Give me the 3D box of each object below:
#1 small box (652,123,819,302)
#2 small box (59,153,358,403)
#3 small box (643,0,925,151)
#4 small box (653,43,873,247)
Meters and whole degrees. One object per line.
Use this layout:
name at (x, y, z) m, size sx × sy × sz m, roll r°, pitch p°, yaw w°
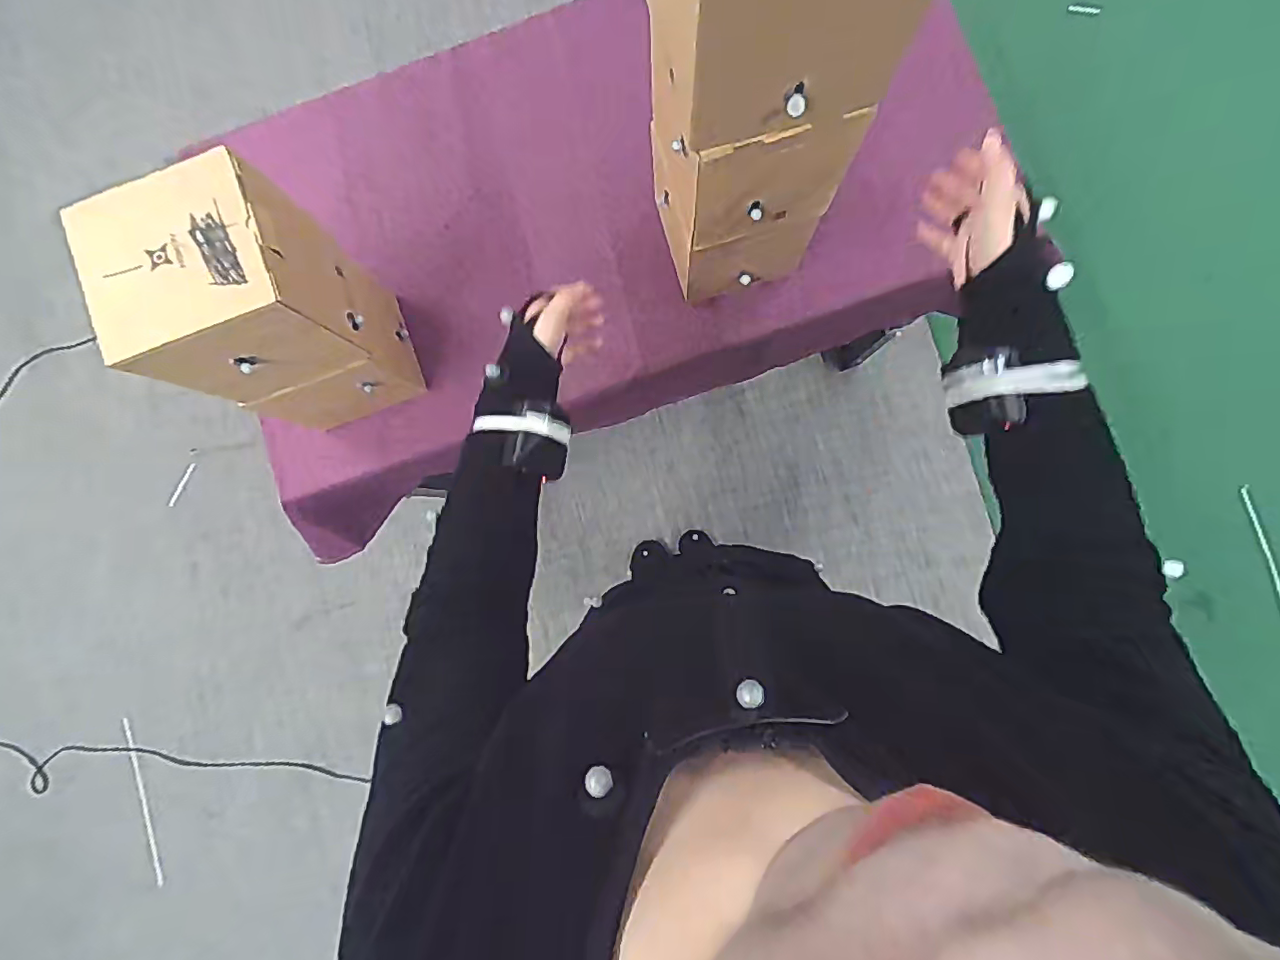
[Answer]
small box at (0.117, -0.370, 0.729) m, size 0.168 × 0.176 × 0.179 m, roll -16°, pitch 86°, yaw 3°
small box at (-0.437, -0.199, 0.583) m, size 0.179 × 0.176 × 0.168 m, roll -21°, pitch 86°, yaw 1°
small box at (0.101, -0.389, 0.403) m, size 0.179 × 0.176 × 0.168 m, roll -14°, pitch 86°, yaw 1°
small box at (0.110, -0.382, 0.567) m, size 0.168 × 0.176 × 0.179 m, roll -16°, pitch 87°, yaw 2°
